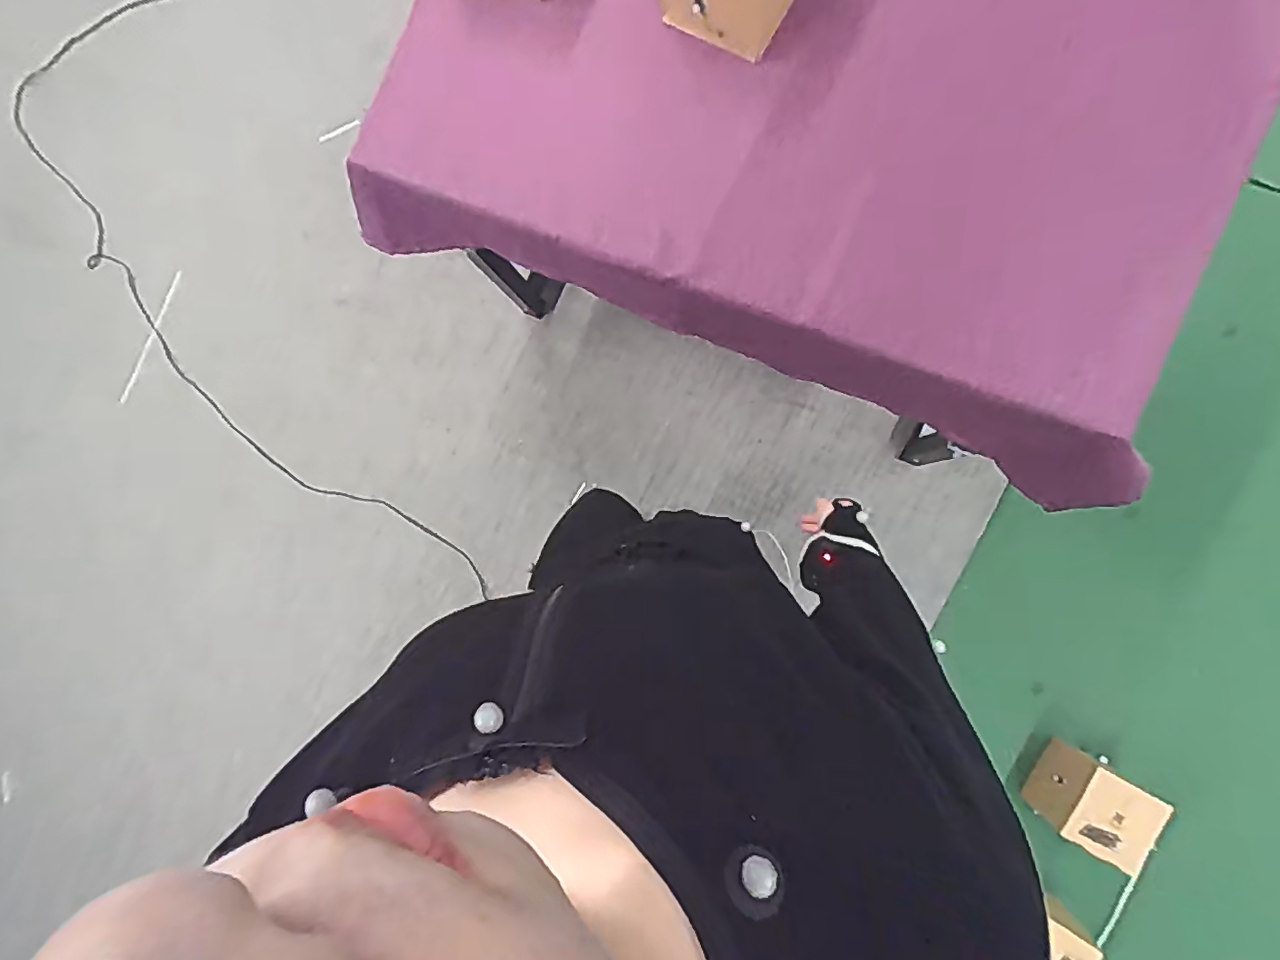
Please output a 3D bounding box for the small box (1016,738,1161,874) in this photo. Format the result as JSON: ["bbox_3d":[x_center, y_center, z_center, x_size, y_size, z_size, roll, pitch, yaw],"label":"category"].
[{"bbox_3d":[1.023,0.744,1.254,0.168,0.176,0.179,29,91,8],"label":"small box"}]

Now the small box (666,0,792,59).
[{"bbox_3d":[0.132,-0.725,0.714,0.168,0.176,0.179,31,93,8],"label":"small box"}]
